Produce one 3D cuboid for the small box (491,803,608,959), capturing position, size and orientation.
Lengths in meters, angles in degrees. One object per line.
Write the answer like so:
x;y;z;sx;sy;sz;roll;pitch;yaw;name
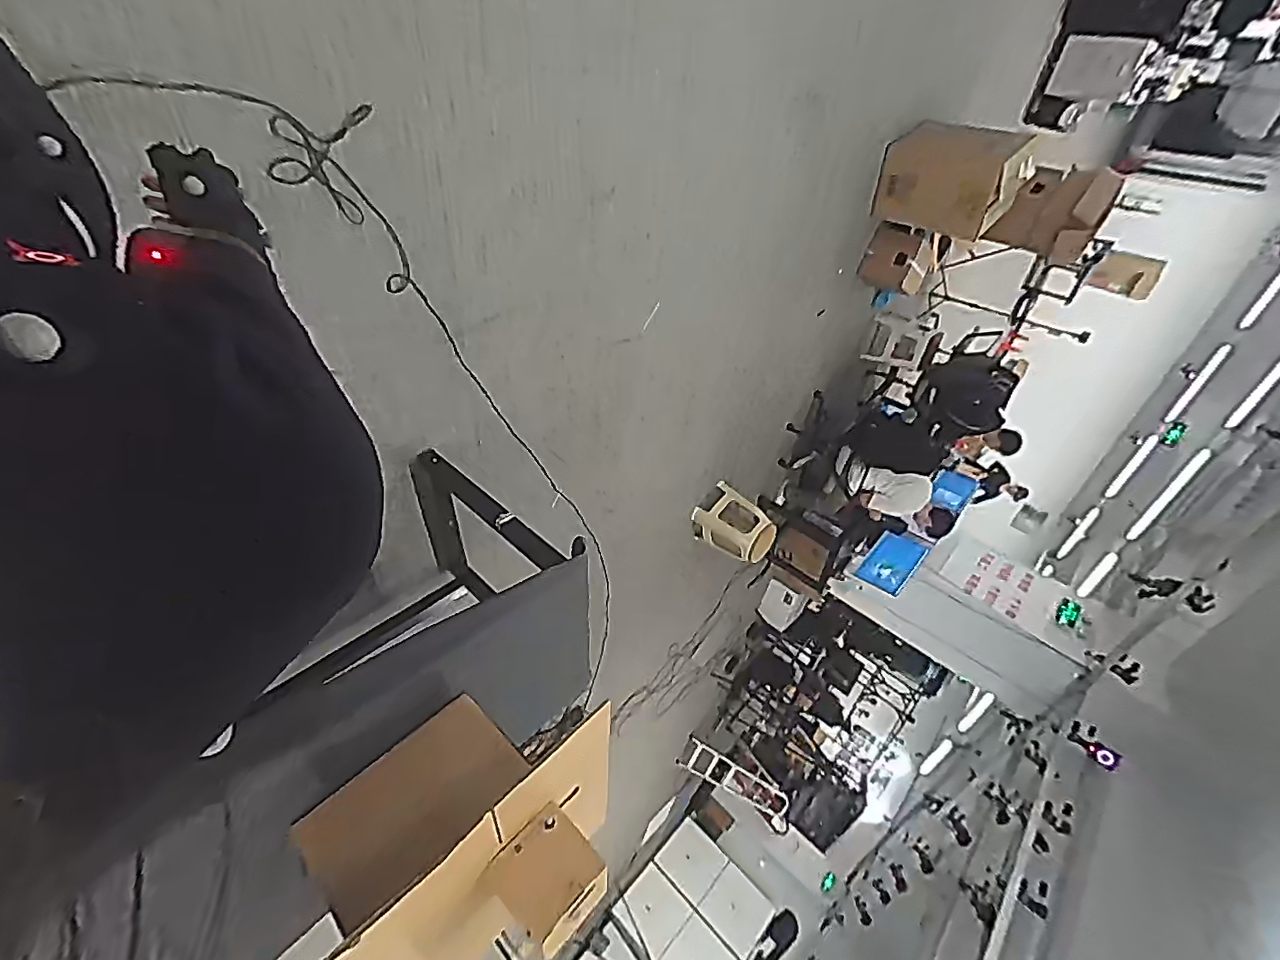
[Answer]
-0.182;0.797;1.089;0.168;0.176;0.179;-32;141;-36;small box
